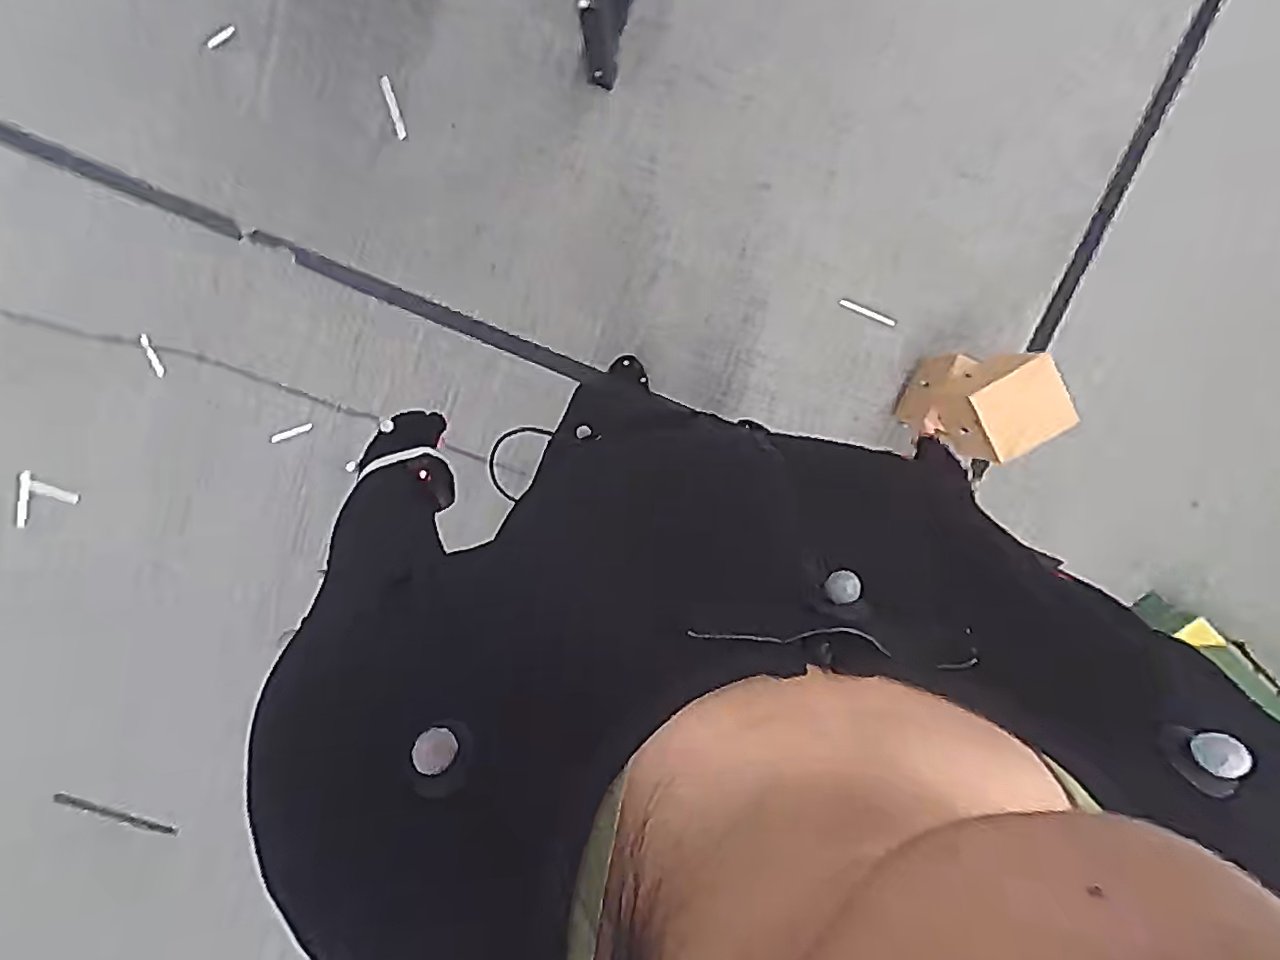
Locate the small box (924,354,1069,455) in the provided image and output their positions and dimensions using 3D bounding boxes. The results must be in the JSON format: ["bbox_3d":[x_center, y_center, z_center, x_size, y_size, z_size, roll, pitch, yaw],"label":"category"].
[{"bbox_3d":[0.780,-0.169,1.193,0.179,0.176,0.168,-31,101,6],"label":"small box"}]

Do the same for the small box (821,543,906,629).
[{"bbox_3d":[0.598,0.278,1.462,0.168,0.176,0.179,-8,102,4],"label":"small box"}]

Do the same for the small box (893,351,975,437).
[{"bbox_3d":[0.769,-0.208,1.356,0.168,0.176,0.179,23,100,-5],"label":"small box"}]
